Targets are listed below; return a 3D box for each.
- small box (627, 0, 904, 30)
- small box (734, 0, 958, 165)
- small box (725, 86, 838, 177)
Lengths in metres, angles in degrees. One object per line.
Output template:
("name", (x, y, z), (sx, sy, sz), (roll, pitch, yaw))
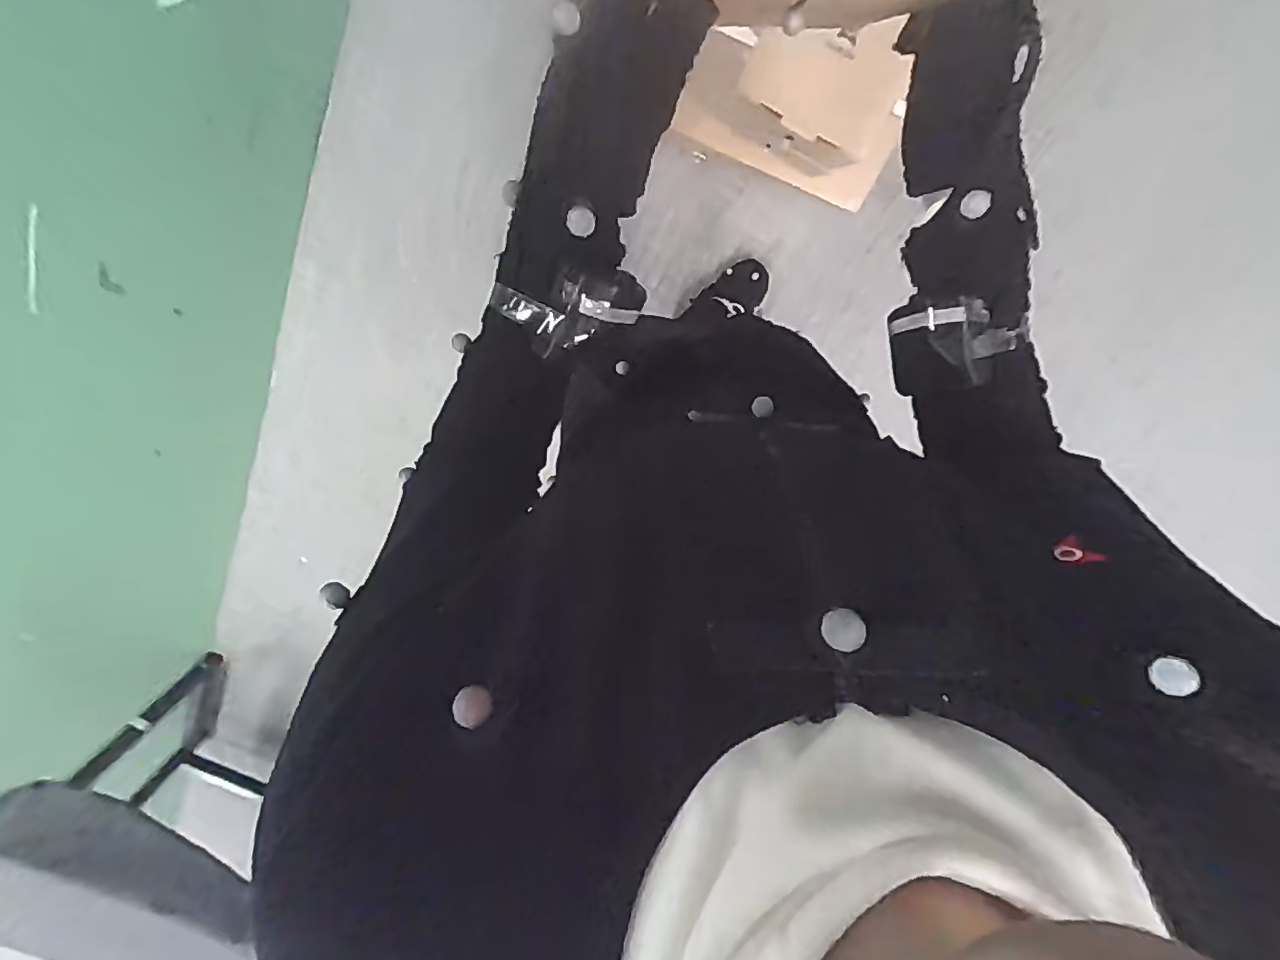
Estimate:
("small box", (0.081, -0.356, 0.287), (0.179, 0.176, 0.168), (-6, 125, -5))
("small box", (0.226, -0.498, 0.638), (0.168, 0.176, 0.179), (26, 118, -6))
("small box", (0.239, -0.567, 0.786), (0.179, 0.176, 0.168), (28, 117, -6))
